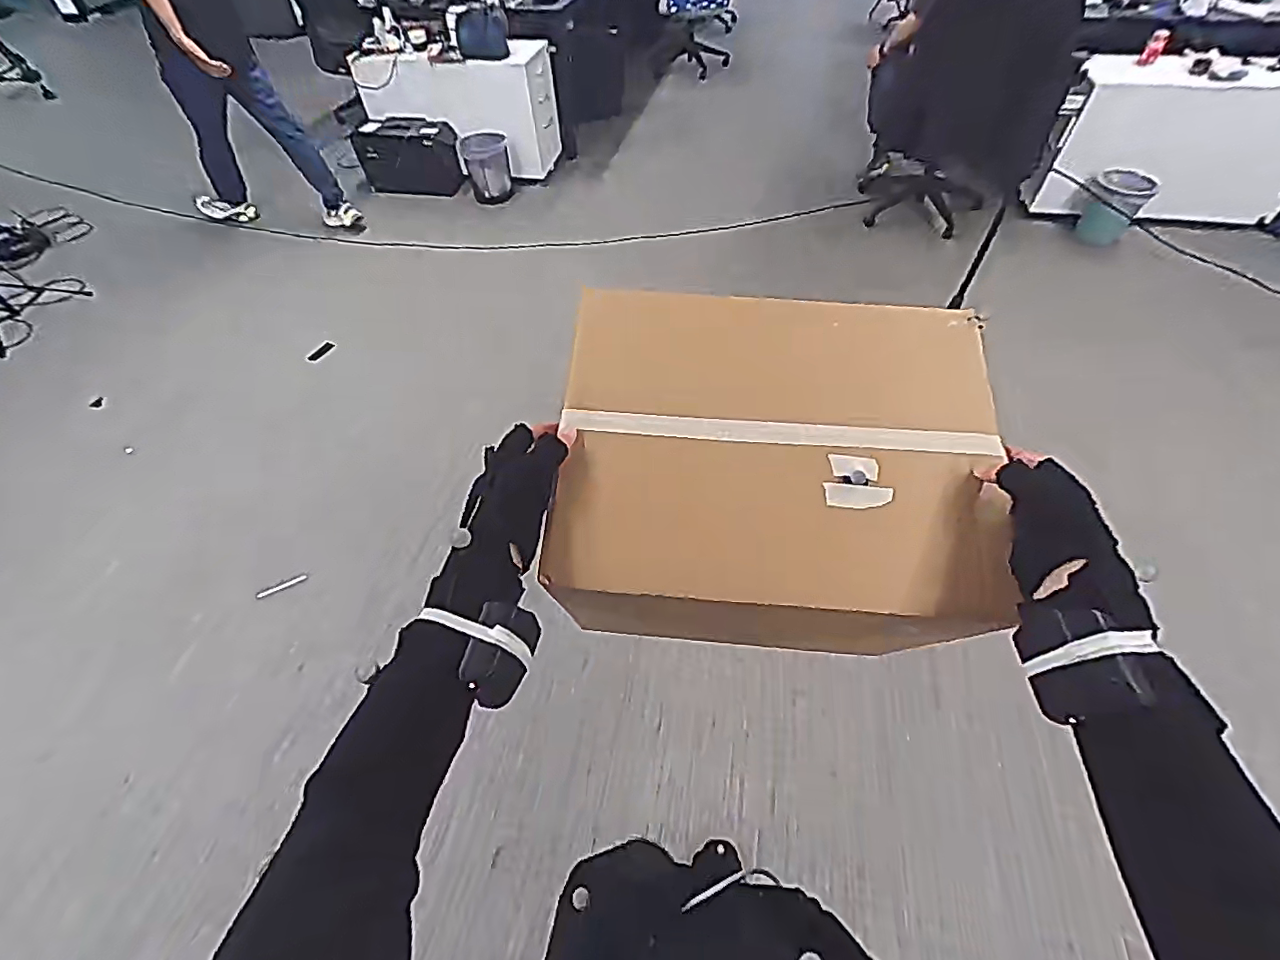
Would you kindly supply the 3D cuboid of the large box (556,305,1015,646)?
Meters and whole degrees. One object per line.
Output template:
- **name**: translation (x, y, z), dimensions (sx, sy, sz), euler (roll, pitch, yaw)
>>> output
- **large box**: translation (0.132, 0.018, 0.658), dimensions (0.408, 0.320, 0.320), euler (4, 68, 2)
